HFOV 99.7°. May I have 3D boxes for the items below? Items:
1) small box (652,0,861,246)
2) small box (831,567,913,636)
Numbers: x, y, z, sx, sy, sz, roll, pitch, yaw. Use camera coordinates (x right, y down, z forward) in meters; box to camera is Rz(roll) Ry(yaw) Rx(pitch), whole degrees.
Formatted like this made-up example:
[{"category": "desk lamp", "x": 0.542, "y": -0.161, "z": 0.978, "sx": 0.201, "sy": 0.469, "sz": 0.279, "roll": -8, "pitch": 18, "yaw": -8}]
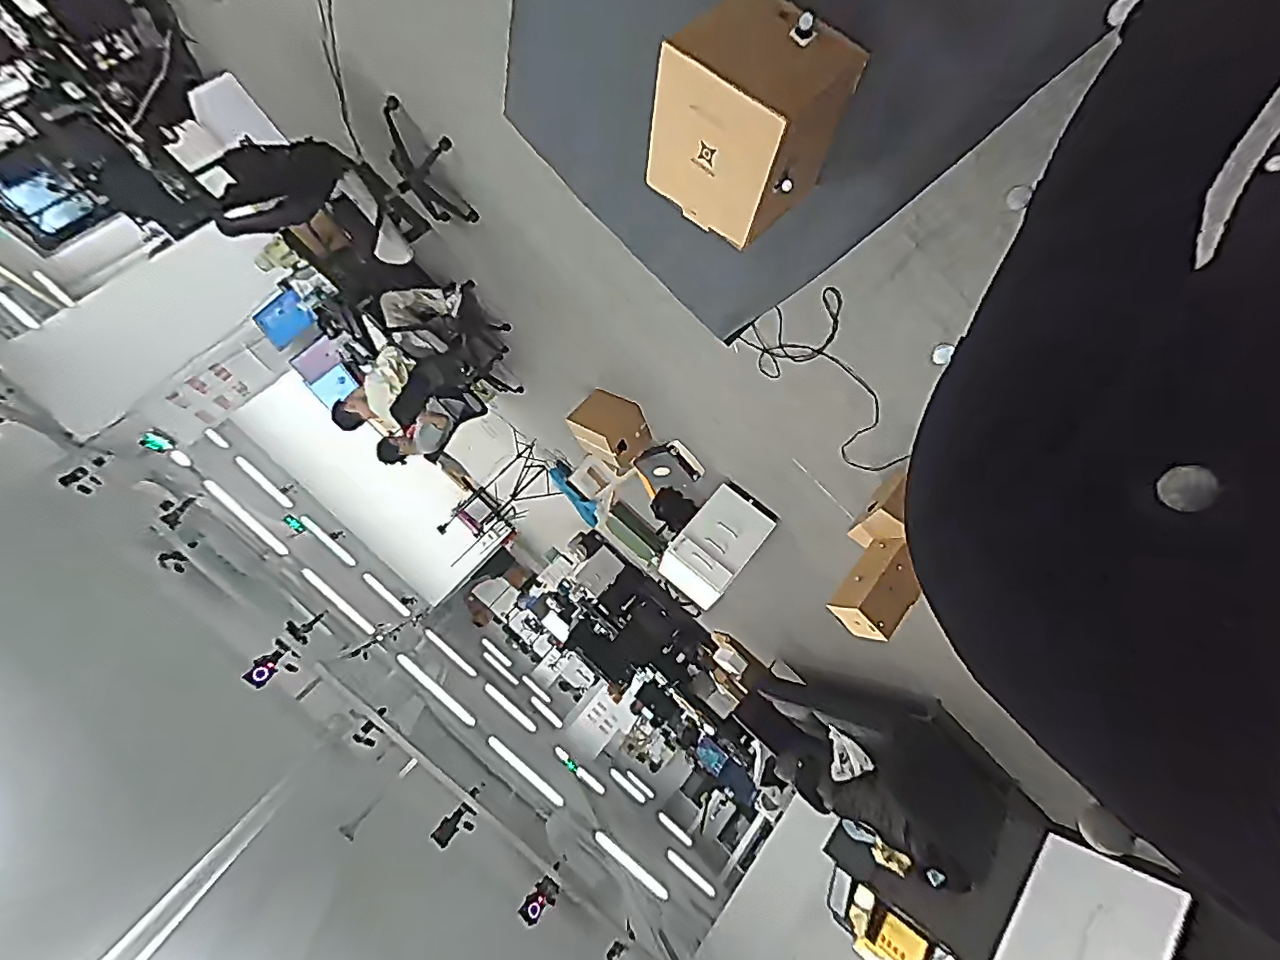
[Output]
[{"category": "small box", "x": 0.136, "y": -0.438, "z": 0.663, "sx": 0.168, "sy": 0.176, "sz": 0.179, "roll": 39, "pitch": 159, "yaw": 10}, {"category": "small box", "x": 0.835, "y": 0.429, "z": 1.942, "sx": 0.168, "sy": 0.176, "sz": 0.179, "roll": 44, "pitch": 163, "yaw": -7}]
